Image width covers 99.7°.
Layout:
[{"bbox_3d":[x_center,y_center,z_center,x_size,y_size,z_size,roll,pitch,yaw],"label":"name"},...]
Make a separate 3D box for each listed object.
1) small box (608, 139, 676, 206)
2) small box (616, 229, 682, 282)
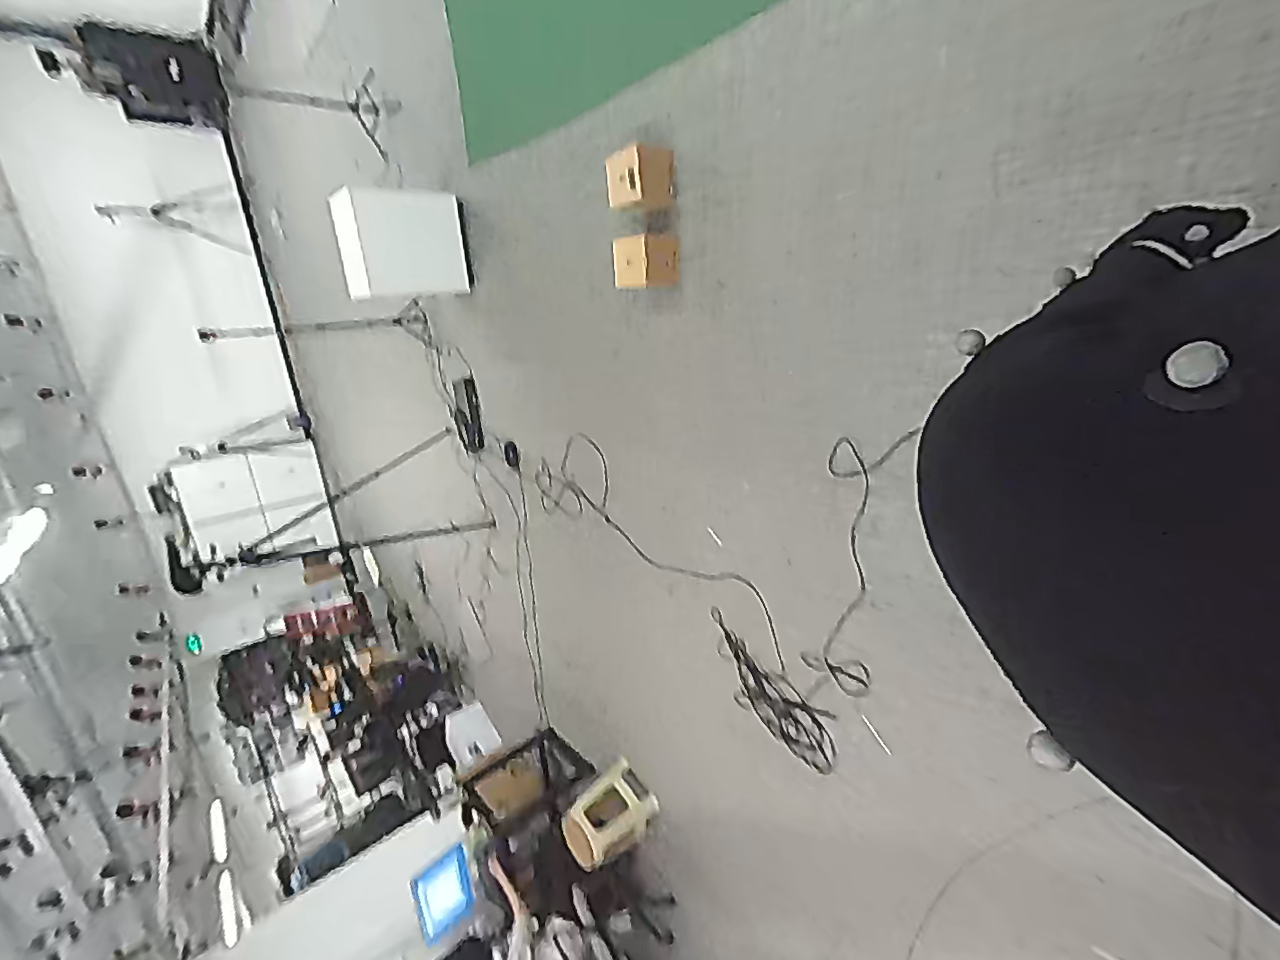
[{"bbox_3d":[0.013,-1.069,1.892,0.179,0.176,0.168,13,114,48],"label":"small box"},{"bbox_3d":[0.034,-0.814,1.973,0.179,0.176,0.168,17,117,46],"label":"small box"}]
